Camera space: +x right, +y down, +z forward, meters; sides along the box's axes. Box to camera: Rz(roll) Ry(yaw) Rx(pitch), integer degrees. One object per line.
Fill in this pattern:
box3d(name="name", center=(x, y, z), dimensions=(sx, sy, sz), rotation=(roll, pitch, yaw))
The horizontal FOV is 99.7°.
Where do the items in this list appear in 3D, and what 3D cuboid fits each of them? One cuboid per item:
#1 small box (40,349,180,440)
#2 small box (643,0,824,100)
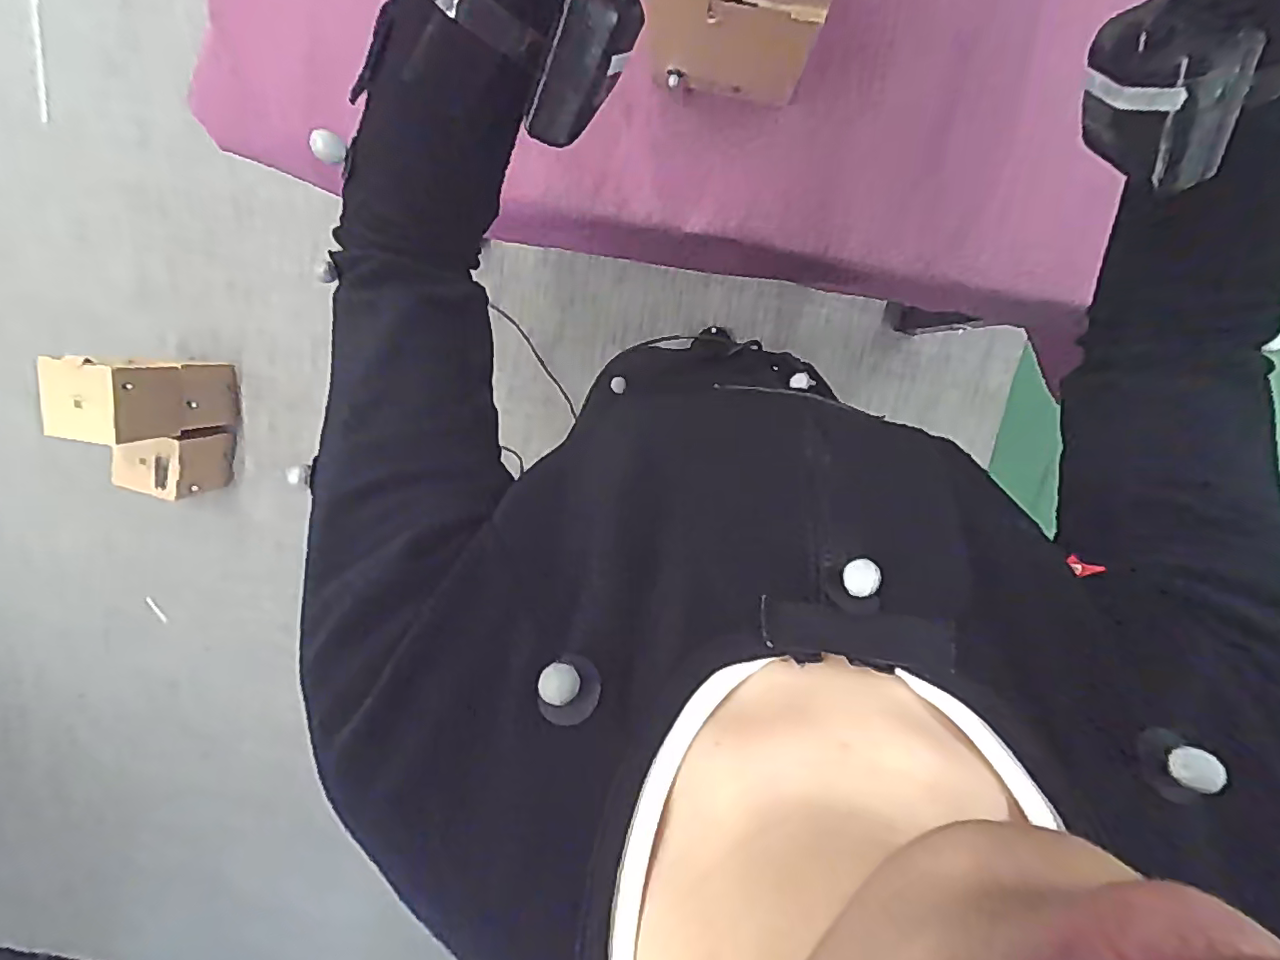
box3d(name="small box", center=(-1.213, -0.201, 1.252), dimensions=(0.168, 0.176, 0.179), rotation=(9, 102, 1))
box3d(name="small box", center=(0.104, -0.521, 0.537), dimensions=(0.168, 0.176, 0.179), rotation=(12, 102, 0))
